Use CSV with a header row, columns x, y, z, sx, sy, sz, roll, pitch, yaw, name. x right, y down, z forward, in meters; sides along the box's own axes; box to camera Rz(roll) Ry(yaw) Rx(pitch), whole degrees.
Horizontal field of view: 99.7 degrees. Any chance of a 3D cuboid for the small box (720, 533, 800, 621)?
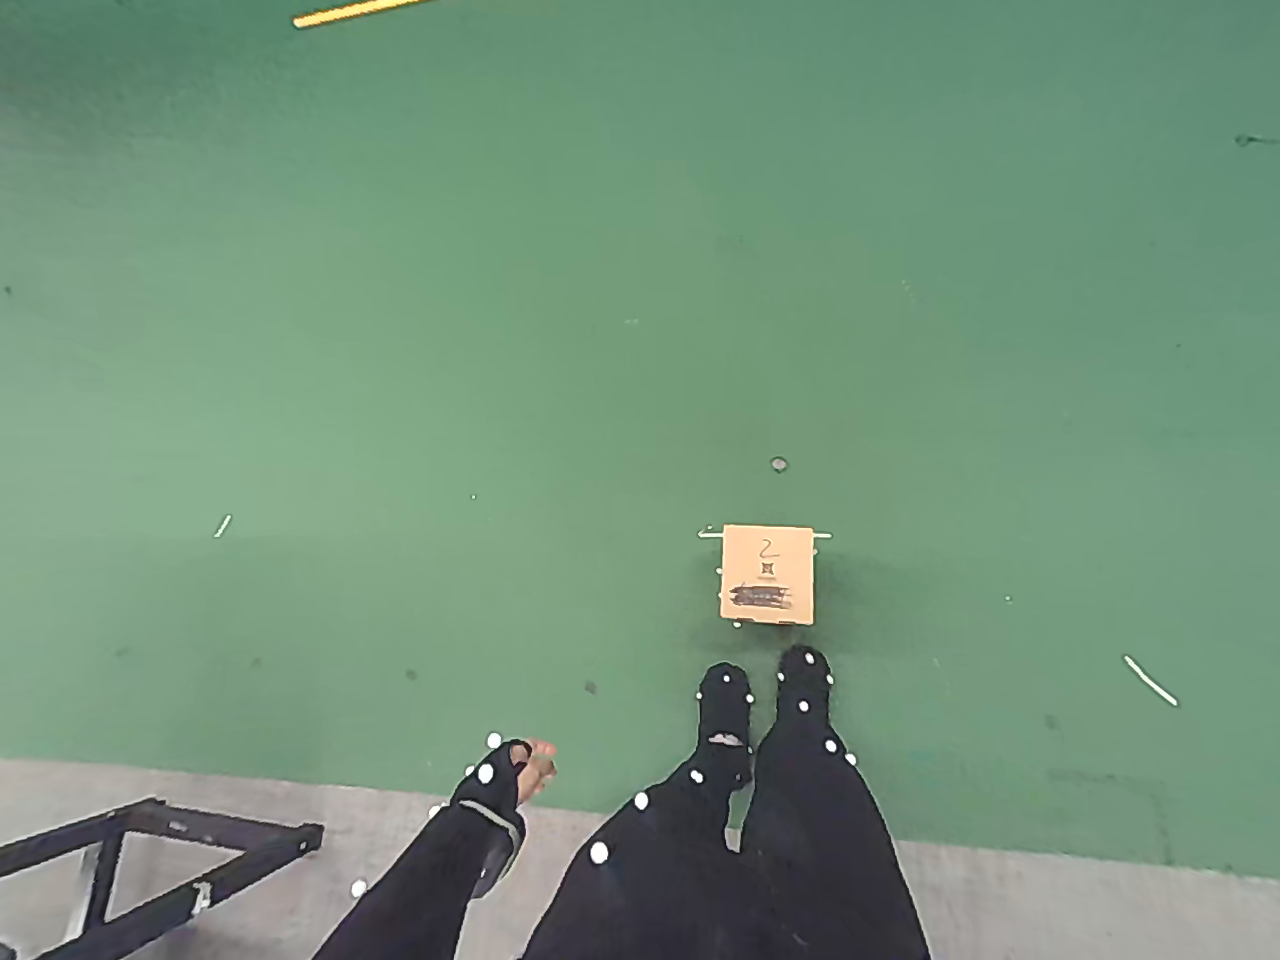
x,y,z,sx,sy,sz,roll,pitch,yaw,name
0.270,0.221,1.230,0.168,0.176,0.179,2,79,12,small box
